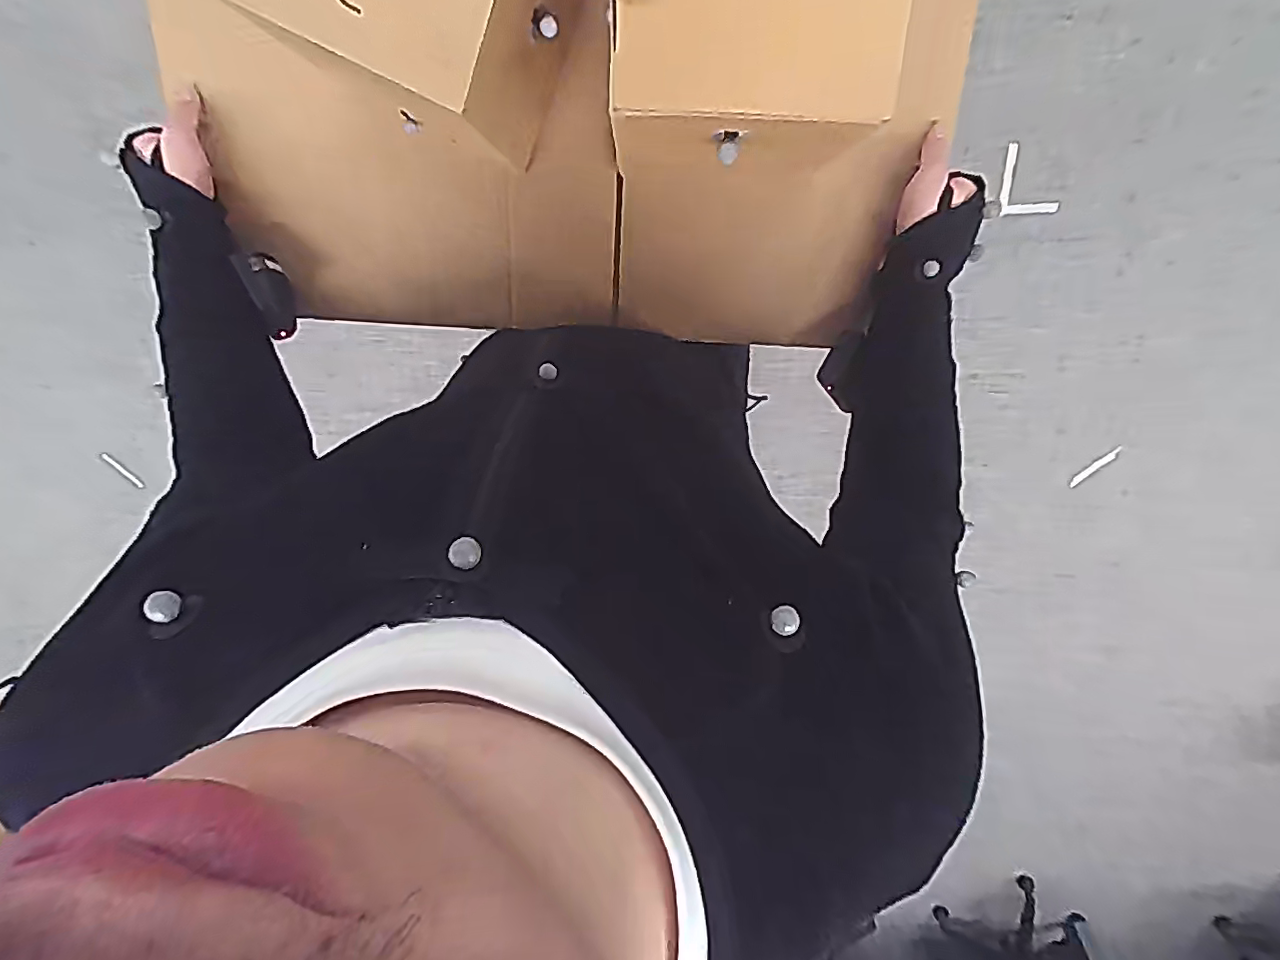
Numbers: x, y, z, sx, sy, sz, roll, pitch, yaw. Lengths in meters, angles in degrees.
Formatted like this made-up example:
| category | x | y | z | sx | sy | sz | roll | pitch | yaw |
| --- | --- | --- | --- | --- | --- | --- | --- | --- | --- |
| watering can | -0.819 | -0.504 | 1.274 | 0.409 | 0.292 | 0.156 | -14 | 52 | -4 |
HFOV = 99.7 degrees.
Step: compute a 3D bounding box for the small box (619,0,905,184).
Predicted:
| category | x | y | z | sx | sy | sz | roll | pitch | yaw |
| --- | --- | --- | --- | --- | --- | --- | --- | --- | --- |
| small box | 0.077 | -0.330 | 0.402 | 0.179 | 0.176 | 0.168 | 3 | 107 | 0 |
